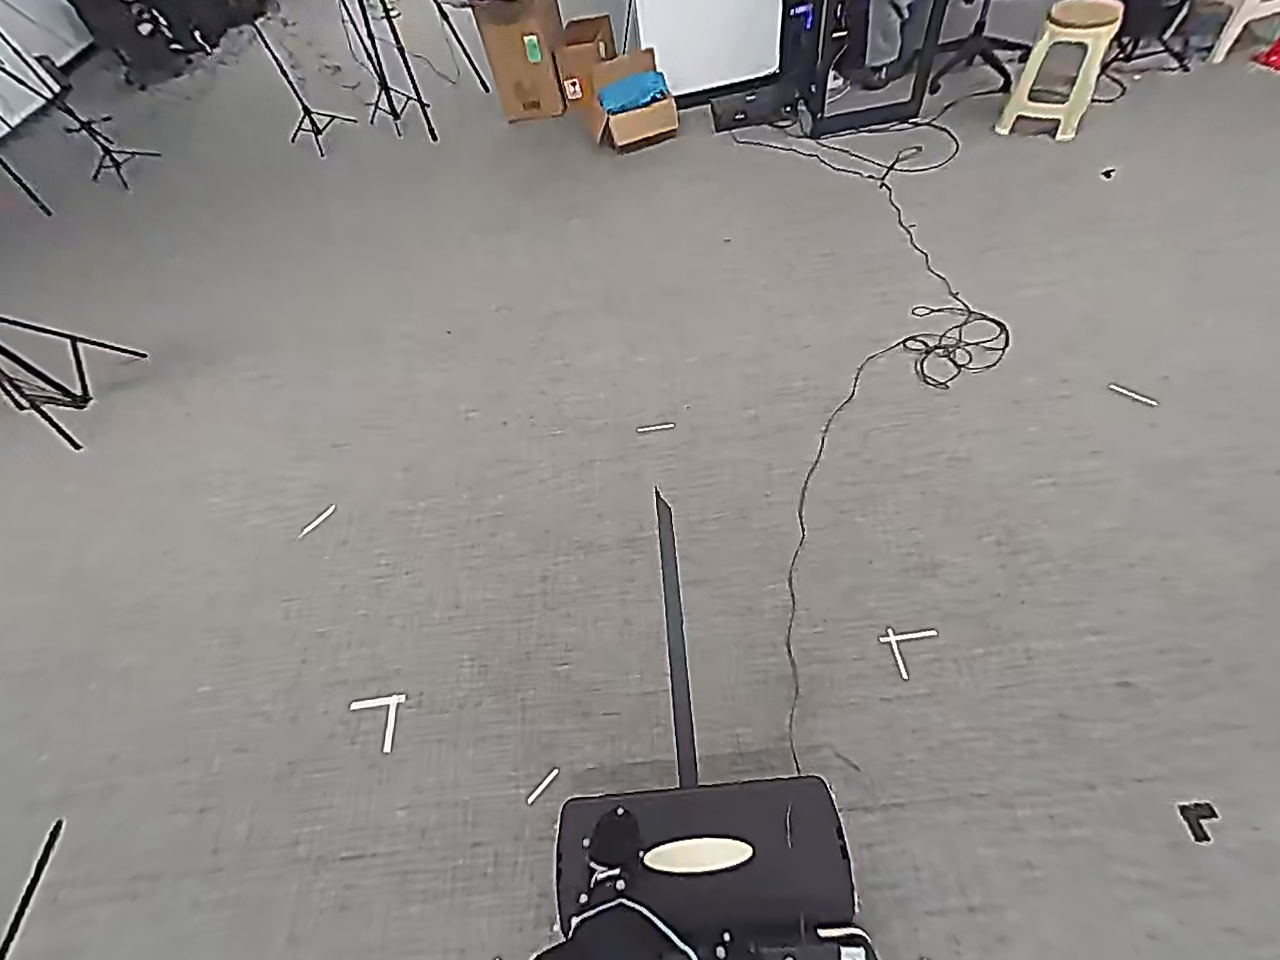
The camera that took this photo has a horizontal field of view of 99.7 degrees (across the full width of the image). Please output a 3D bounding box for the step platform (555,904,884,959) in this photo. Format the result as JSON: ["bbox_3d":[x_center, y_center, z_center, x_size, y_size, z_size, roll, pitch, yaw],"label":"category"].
[{"bbox_3d":[0.160,1.062,1.082,0.684,0.204,0.286,-9,55,5],"label":"step platform"}]
